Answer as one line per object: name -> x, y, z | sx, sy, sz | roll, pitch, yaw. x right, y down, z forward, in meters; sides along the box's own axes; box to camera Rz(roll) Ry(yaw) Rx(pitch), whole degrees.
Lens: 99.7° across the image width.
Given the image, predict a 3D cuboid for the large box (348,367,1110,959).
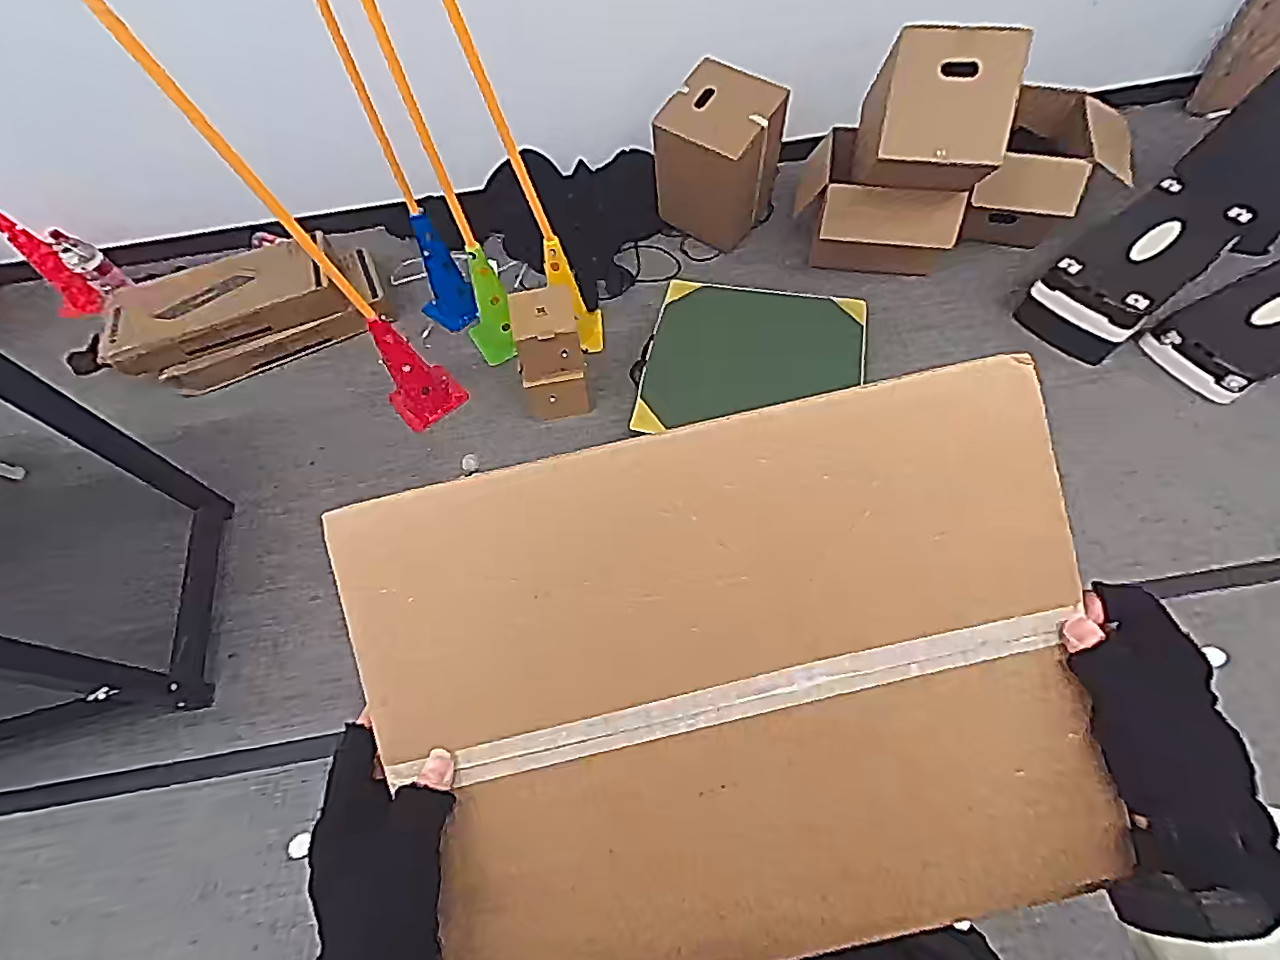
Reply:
large box -> 0.053, 0.126, 0.468 | 0.408, 0.320, 0.320 | -14, 92, 0
